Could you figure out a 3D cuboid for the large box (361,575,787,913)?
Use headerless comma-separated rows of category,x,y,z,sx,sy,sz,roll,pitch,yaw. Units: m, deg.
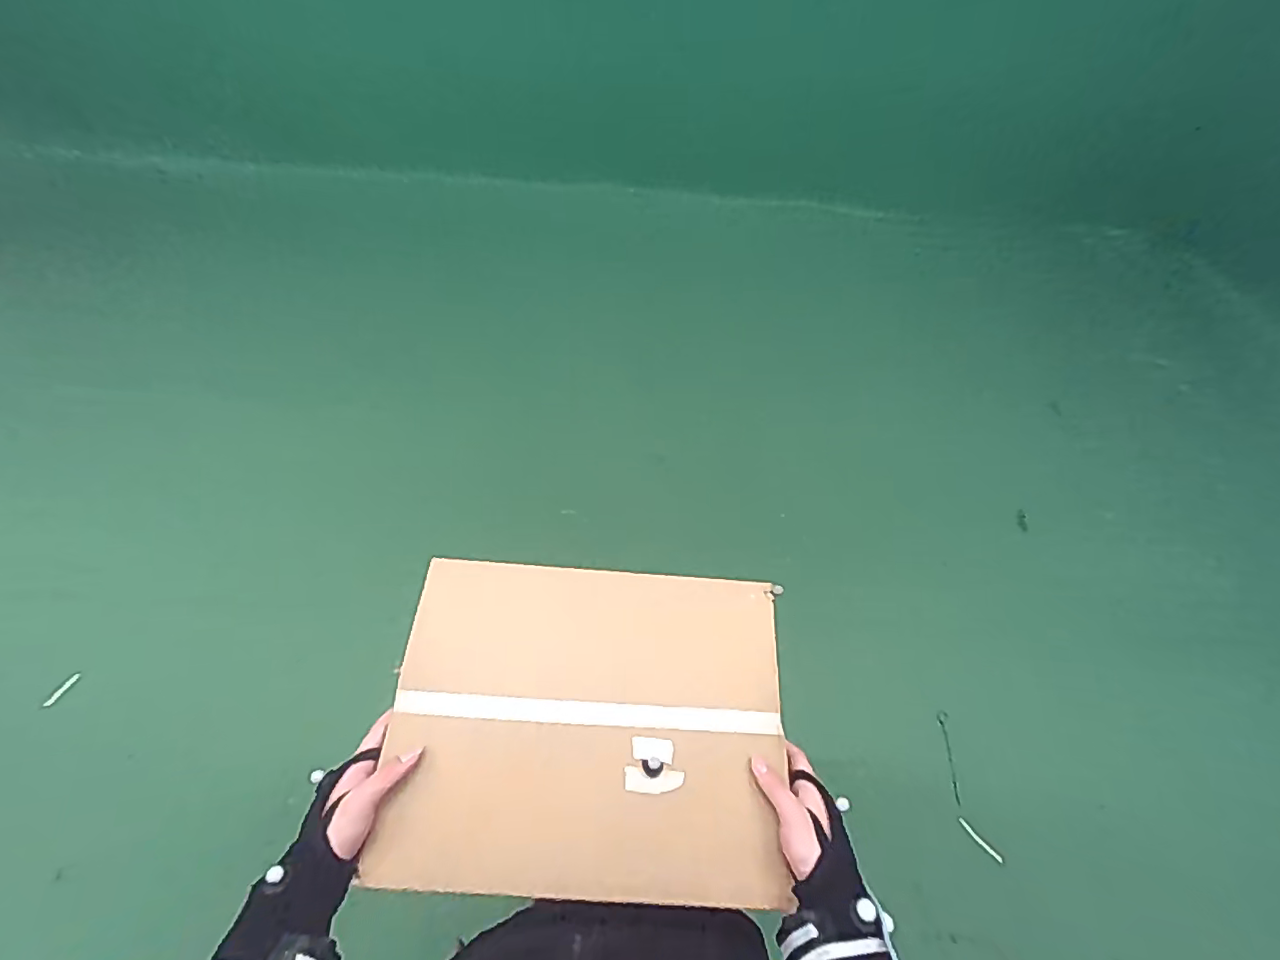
large box,-0.065,0.335,0.701,0.408,0.320,0.320,5,60,-2
